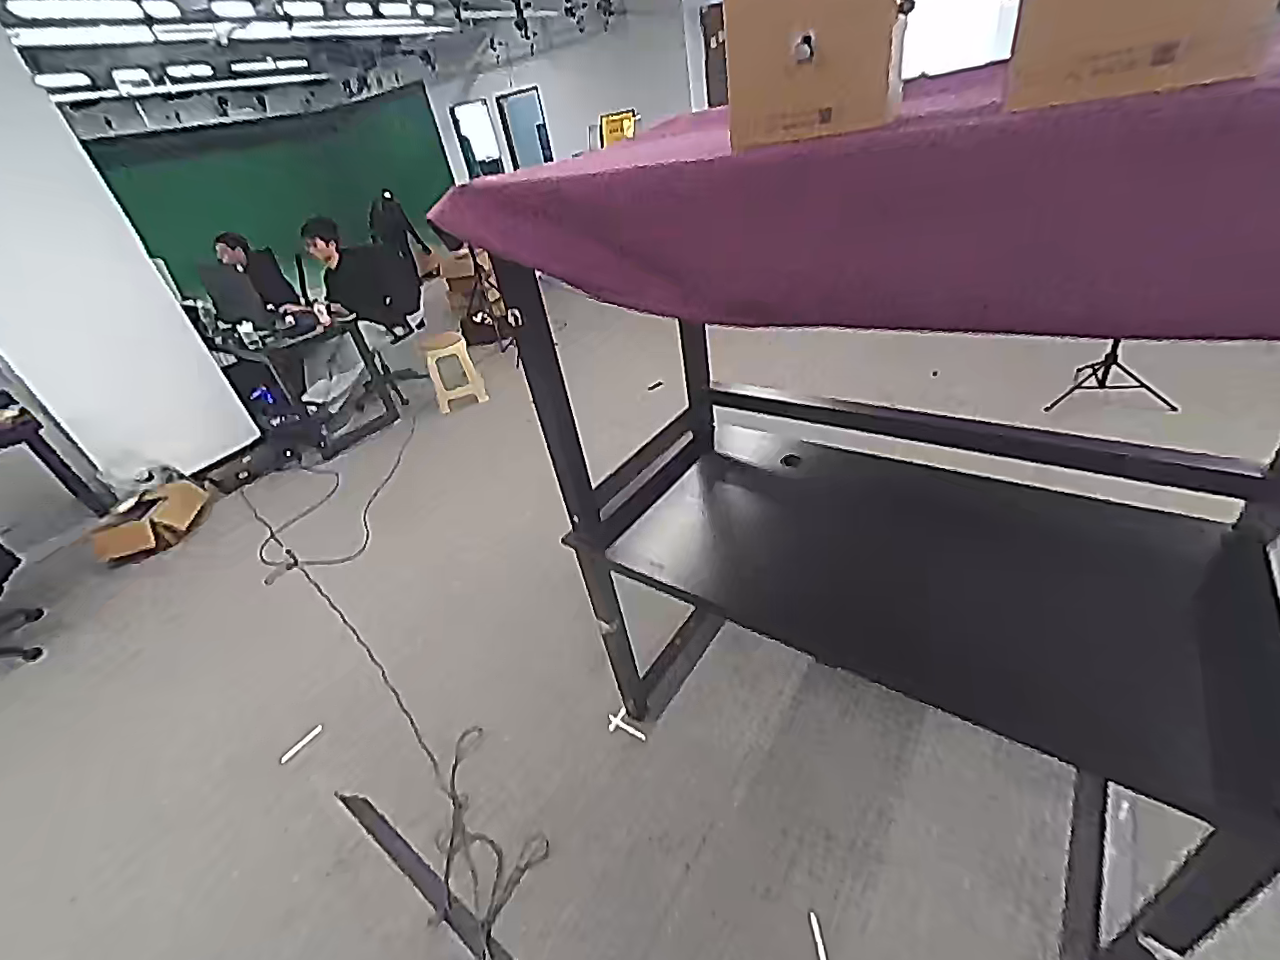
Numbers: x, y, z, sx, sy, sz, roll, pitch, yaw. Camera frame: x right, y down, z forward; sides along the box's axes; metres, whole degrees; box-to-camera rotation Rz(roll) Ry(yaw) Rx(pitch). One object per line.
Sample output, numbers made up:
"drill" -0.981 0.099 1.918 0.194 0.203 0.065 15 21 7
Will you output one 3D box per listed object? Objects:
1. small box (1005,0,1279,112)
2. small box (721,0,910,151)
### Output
"small box" 0.422 -0.422 0.451 0.168 0.176 0.179 13 40 31
"small box" 0.200 -0.477 0.597 0.168 0.176 0.179 7 38 26
